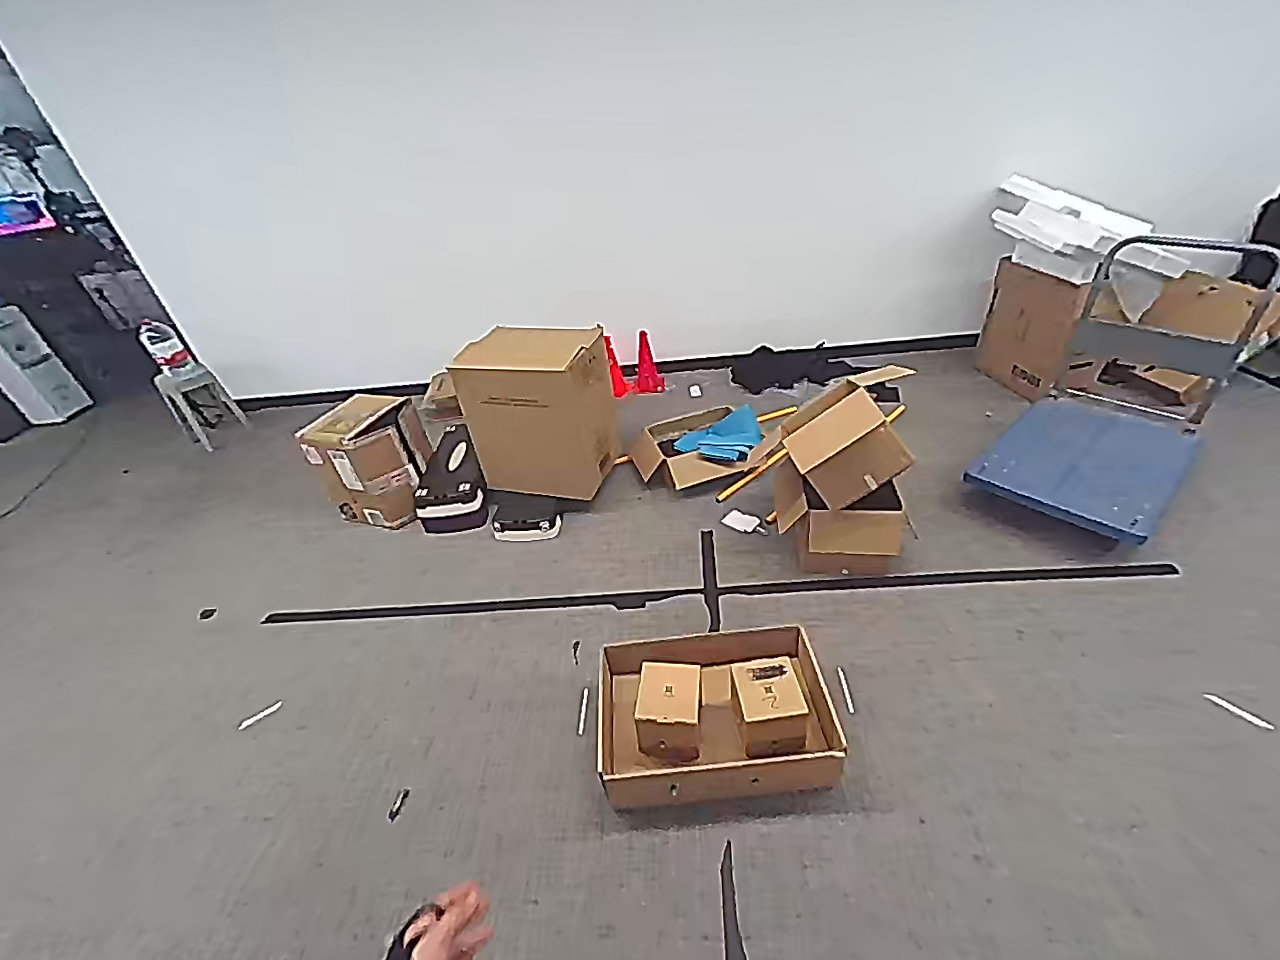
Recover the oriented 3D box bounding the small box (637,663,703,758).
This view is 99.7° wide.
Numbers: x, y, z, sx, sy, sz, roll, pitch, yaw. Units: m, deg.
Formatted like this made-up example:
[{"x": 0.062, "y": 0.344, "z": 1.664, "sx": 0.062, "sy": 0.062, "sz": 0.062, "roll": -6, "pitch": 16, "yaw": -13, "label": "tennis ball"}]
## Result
[{"x": 0.088, "y": 0.637, "z": 1.501, "sx": 0.168, "sy": 0.176, "sz": 0.179, "roll": 0, "pitch": 36, "yaw": 9, "label": "small box"}]
